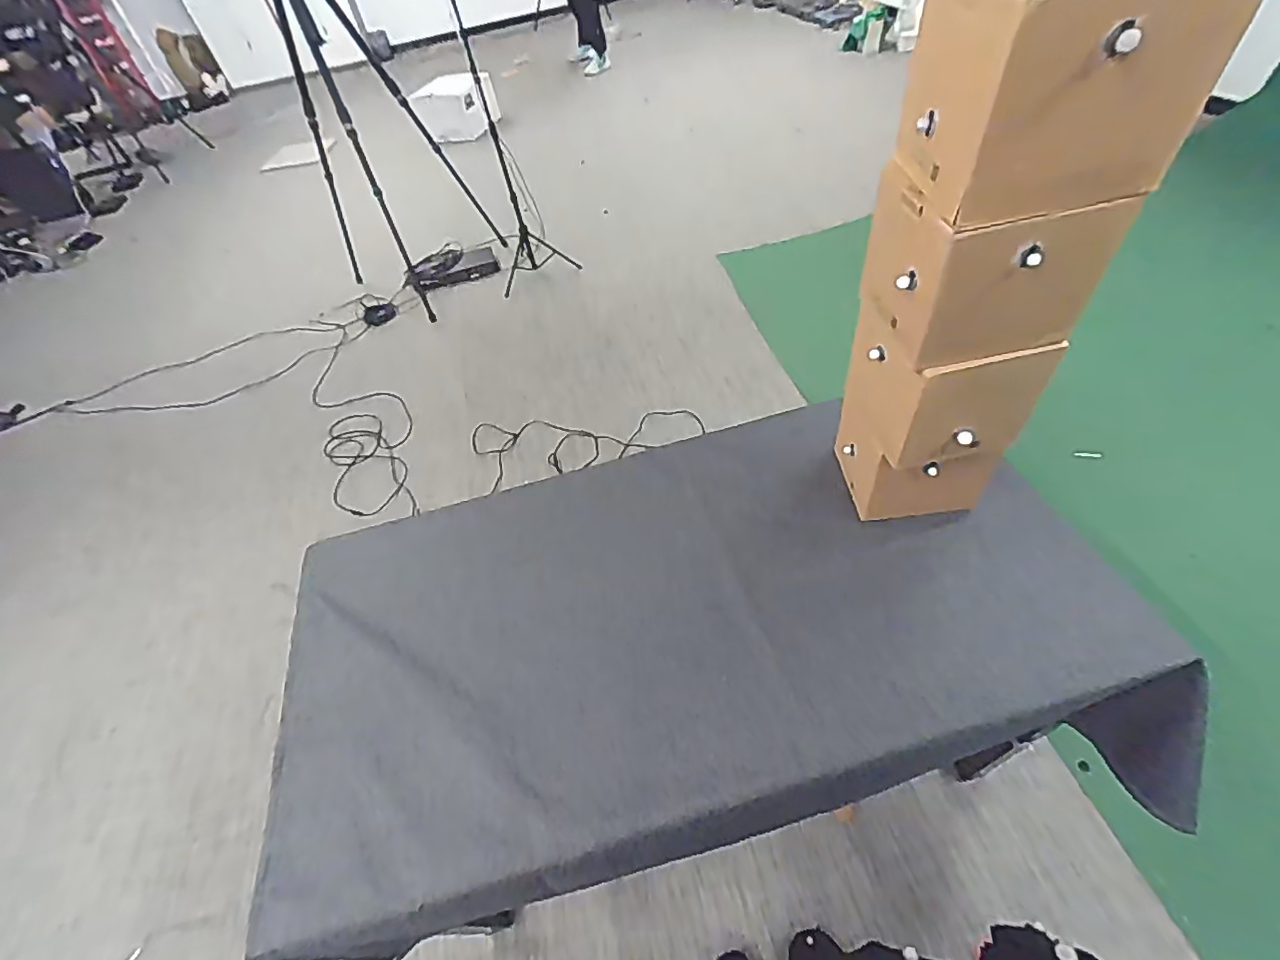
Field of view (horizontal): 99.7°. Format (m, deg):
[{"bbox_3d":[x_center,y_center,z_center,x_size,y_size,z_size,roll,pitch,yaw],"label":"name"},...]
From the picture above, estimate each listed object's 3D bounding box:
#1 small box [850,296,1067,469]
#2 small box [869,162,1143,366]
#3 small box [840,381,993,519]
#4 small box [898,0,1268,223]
[{"bbox_3d":[0.397,-0.142,0.718,0.168,0.176,0.179,-12,50,1],"label":"small box"},{"bbox_3d":[0.369,-0.246,0.596,0.179,0.176,0.168,-10,50,3],"label":"small box"},{"bbox_3d":[0.426,-0.053,0.854,0.179,0.176,0.168,-7,50,5],"label":"small box"},{"bbox_3d":[0.355,-0.352,0.474,0.179,0.176,0.168,-8,51,5],"label":"small box"}]
